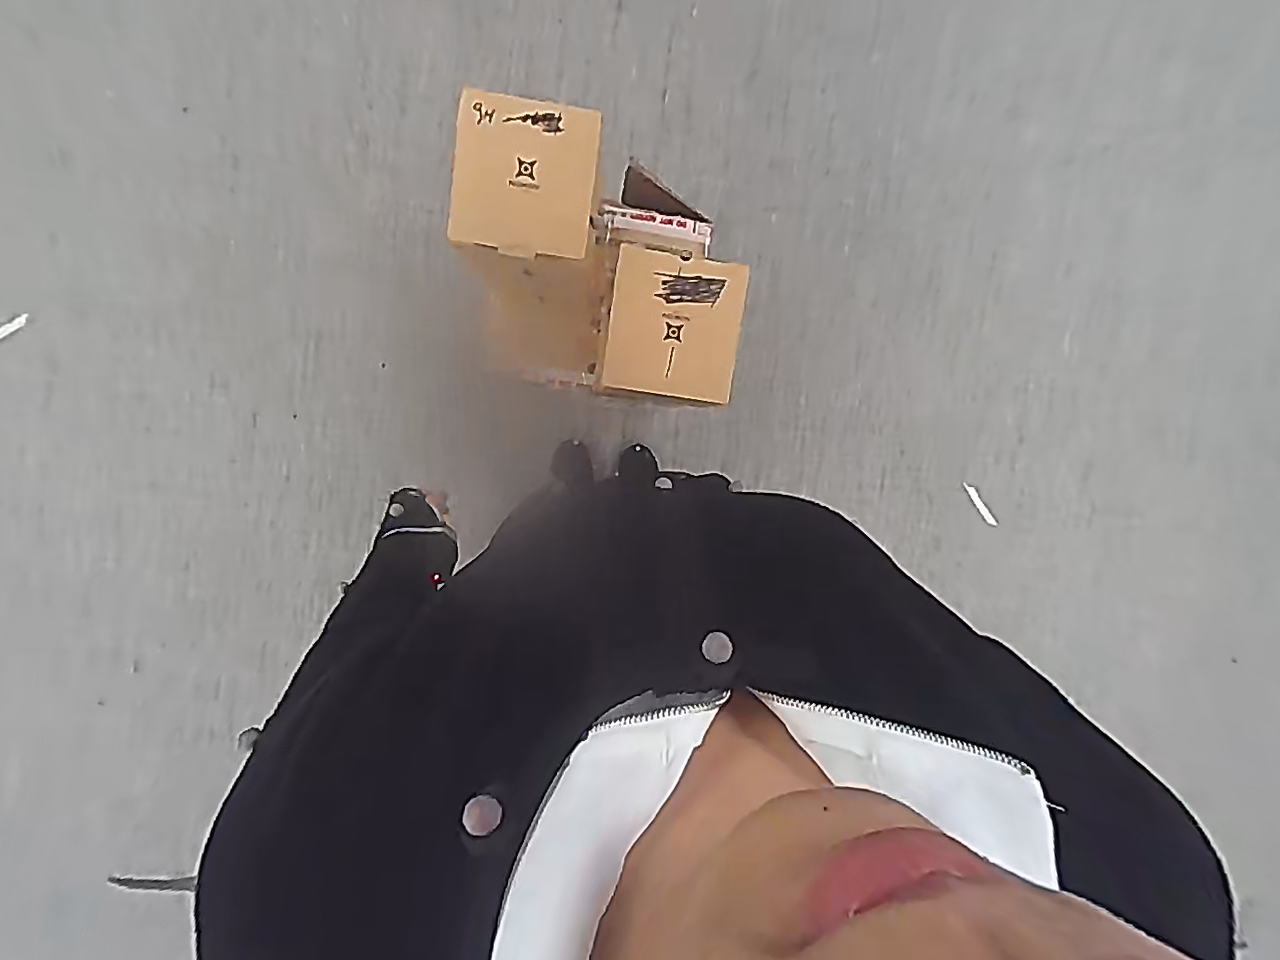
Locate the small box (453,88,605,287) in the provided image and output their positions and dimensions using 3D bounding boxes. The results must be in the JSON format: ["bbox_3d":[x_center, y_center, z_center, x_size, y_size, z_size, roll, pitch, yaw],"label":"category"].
[{"bbox_3d":[-0.137,-0.369,0.719,0.168,0.176,0.179,7,96,-4],"label":"small box"}]

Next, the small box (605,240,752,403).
[{"bbox_3d":[0.042,-0.207,0.754,0.168,0.176,0.179,7,97,-5],"label":"small box"}]
